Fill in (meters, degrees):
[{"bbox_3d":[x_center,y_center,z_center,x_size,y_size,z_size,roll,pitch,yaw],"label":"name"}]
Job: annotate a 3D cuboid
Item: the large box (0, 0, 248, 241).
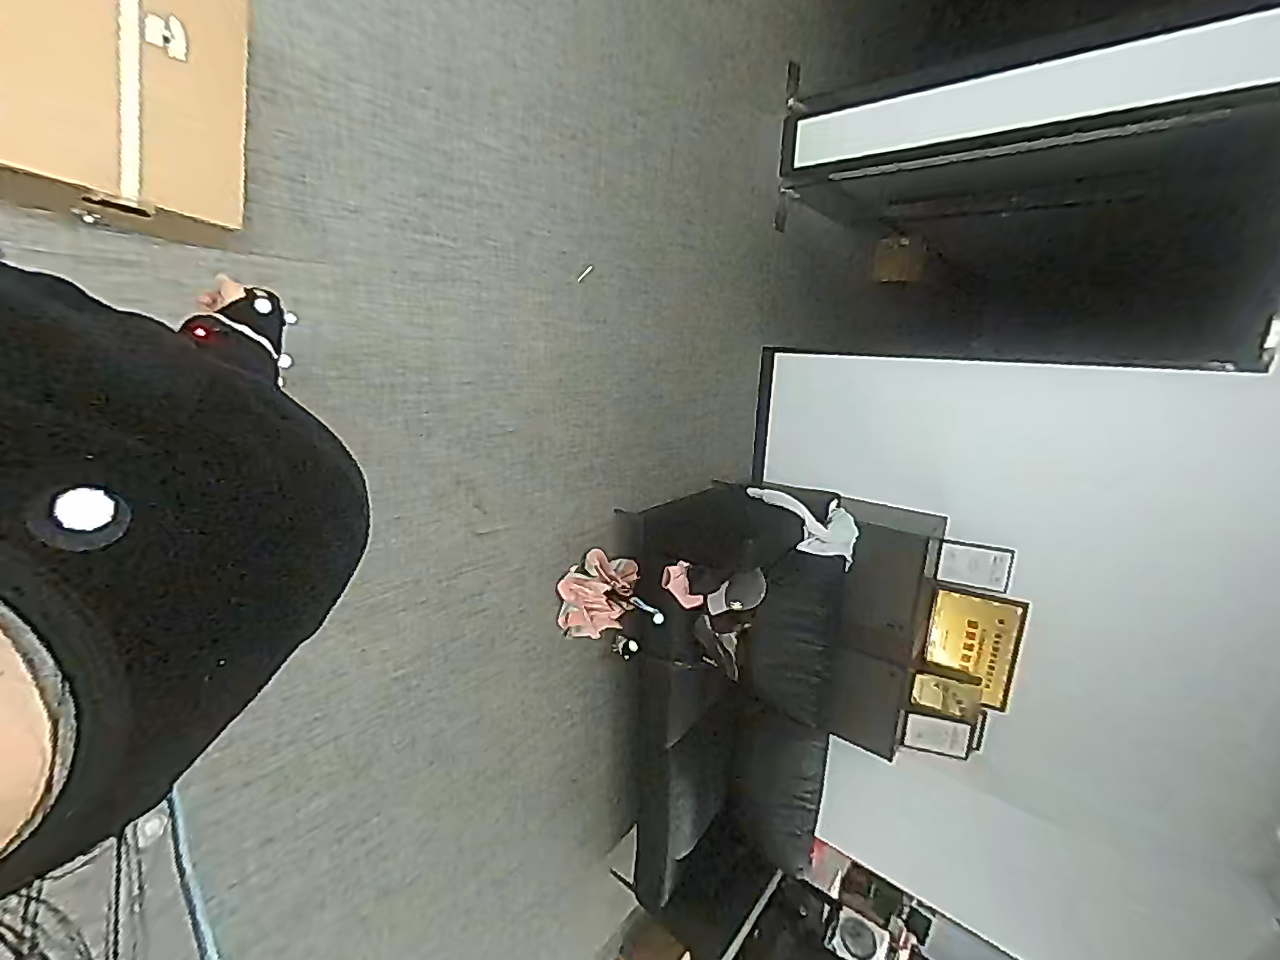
[{"bbox_3d":[-0.912,-0.678,0.939,0.320,0.320,0.408,-3,102,-51],"label":"large box"}]
